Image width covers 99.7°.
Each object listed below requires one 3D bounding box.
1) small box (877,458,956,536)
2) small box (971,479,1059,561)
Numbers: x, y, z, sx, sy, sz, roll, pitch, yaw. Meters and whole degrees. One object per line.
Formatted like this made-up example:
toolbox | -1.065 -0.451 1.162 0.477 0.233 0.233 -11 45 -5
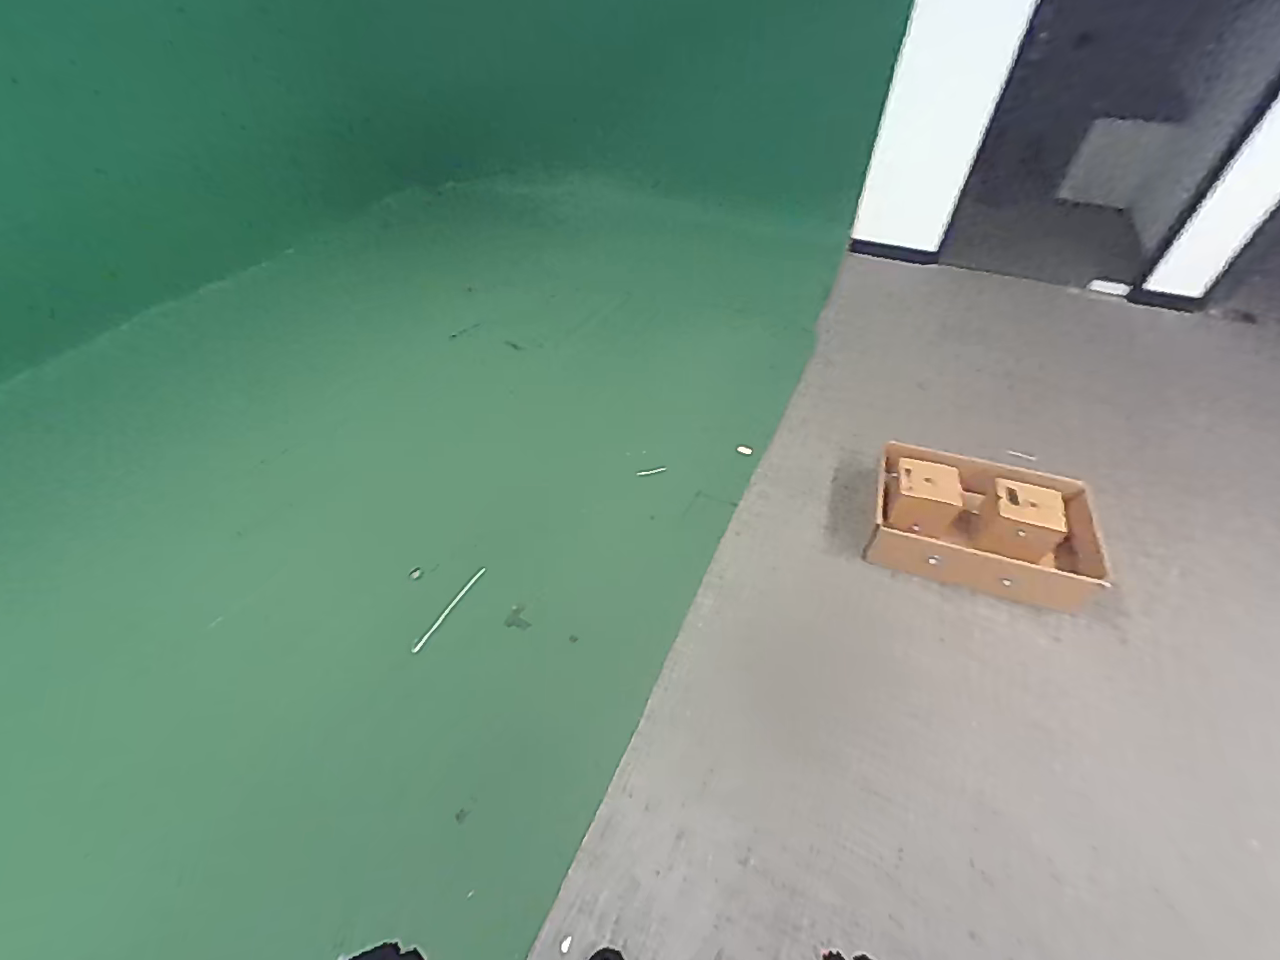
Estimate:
small box | 0.885 0.060 1.741 0.179 0.176 0.168 13 48 10
small box | 1.150 0.127 1.677 0.179 0.176 0.168 15 50 15
